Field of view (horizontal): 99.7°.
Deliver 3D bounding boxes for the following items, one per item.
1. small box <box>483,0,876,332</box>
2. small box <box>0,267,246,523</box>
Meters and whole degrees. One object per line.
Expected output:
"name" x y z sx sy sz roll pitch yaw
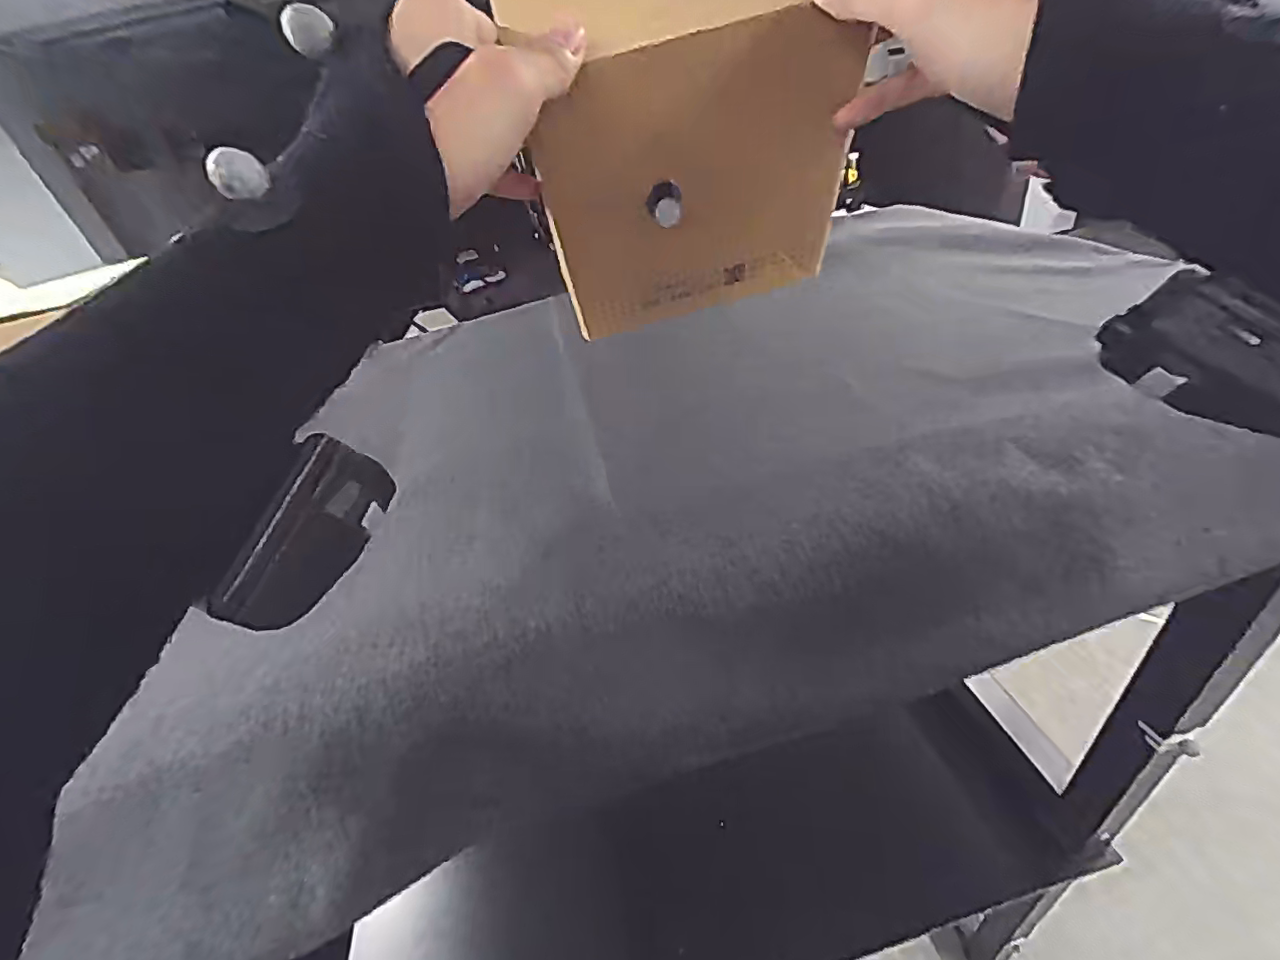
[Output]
"small box" 0.014 -0.215 0.334 0.168 0.176 0.179 -16 62 0
"small box" -0.541 -0.086 0.532 0.179 0.176 0.168 -17 37 -7
